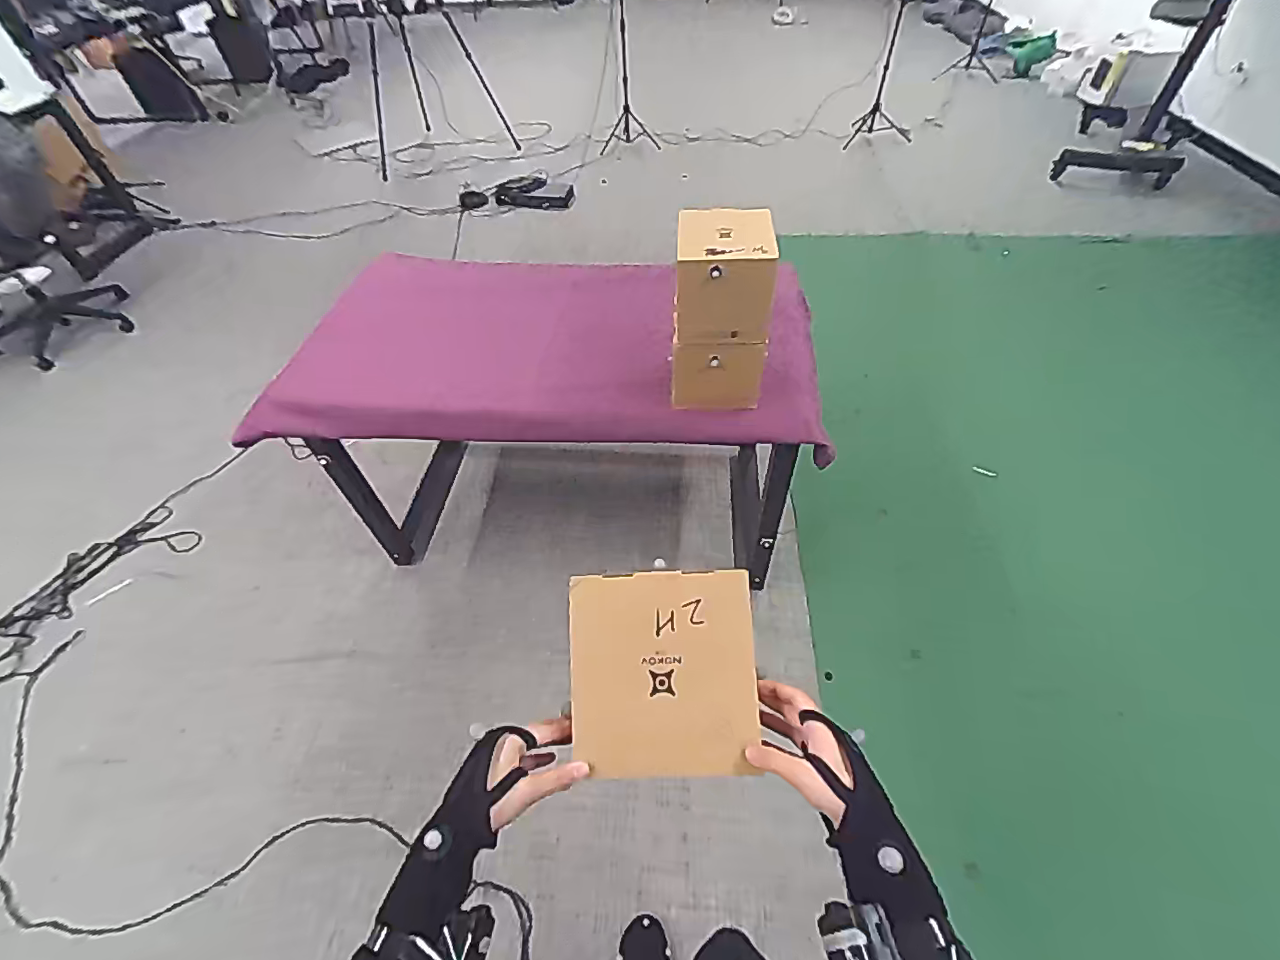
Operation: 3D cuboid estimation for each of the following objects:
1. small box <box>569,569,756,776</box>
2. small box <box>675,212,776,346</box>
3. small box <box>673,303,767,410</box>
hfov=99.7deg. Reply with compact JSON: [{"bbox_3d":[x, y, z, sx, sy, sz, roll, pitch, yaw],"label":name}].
[{"bbox_3d":[0.022,0.185,0.562,0.168,0.176,0.179,-3,78,2],"label":"small box"},{"bbox_3d":[0.149,-0.365,0.986,0.168,0.176,0.179,-1,50,7],"label":"small box"},{"bbox_3d":[0.158,-0.258,1.111,0.179,0.176,0.168,-1,51,6],"label":"small box"}]
